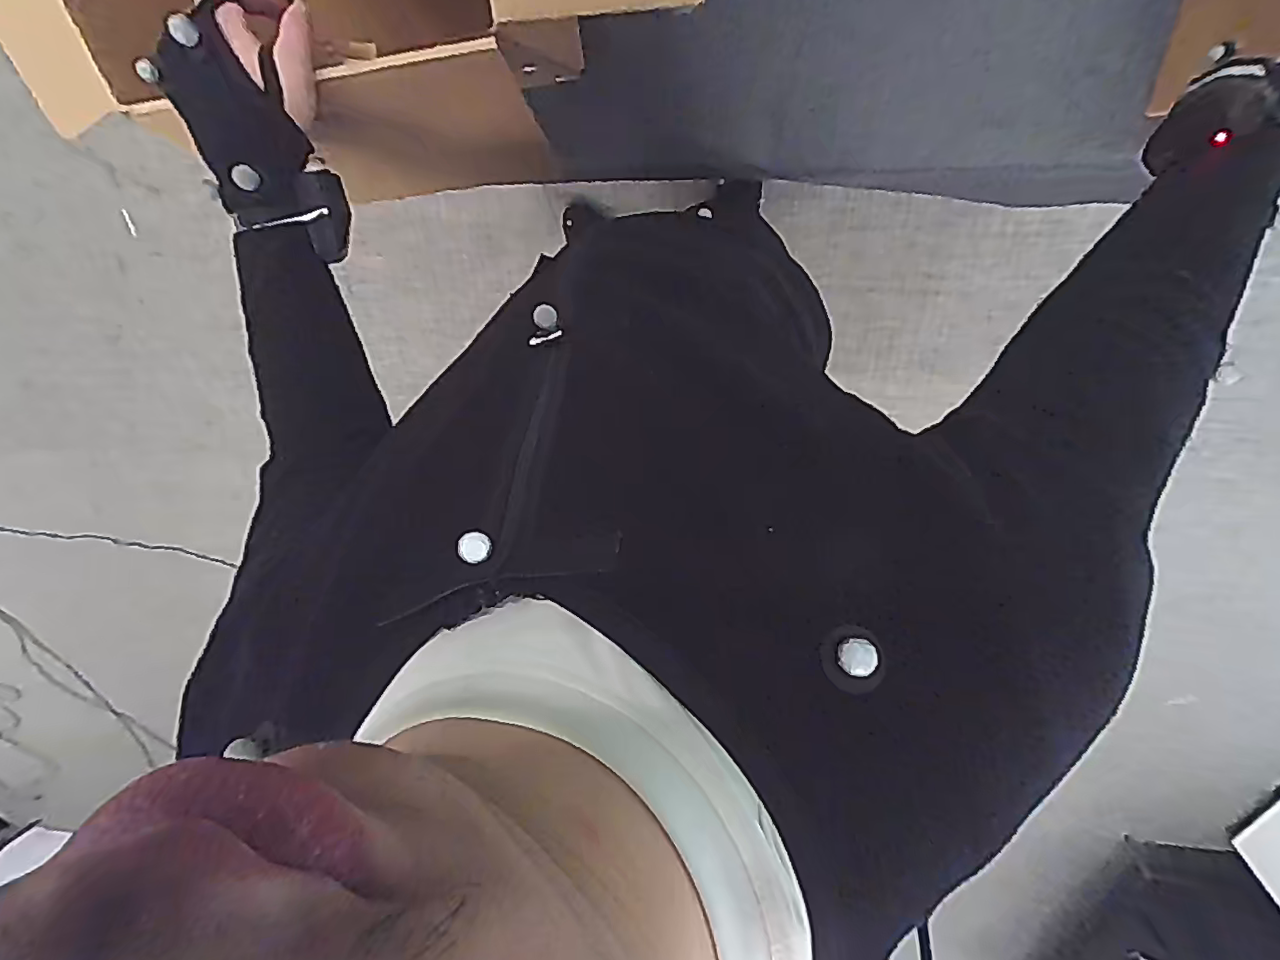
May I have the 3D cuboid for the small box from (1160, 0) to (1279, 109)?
[{"bbox_3d":[0.607,-0.426,0.457,0.168,0.176,0.179,0,121,8],"label":"small box"}]
